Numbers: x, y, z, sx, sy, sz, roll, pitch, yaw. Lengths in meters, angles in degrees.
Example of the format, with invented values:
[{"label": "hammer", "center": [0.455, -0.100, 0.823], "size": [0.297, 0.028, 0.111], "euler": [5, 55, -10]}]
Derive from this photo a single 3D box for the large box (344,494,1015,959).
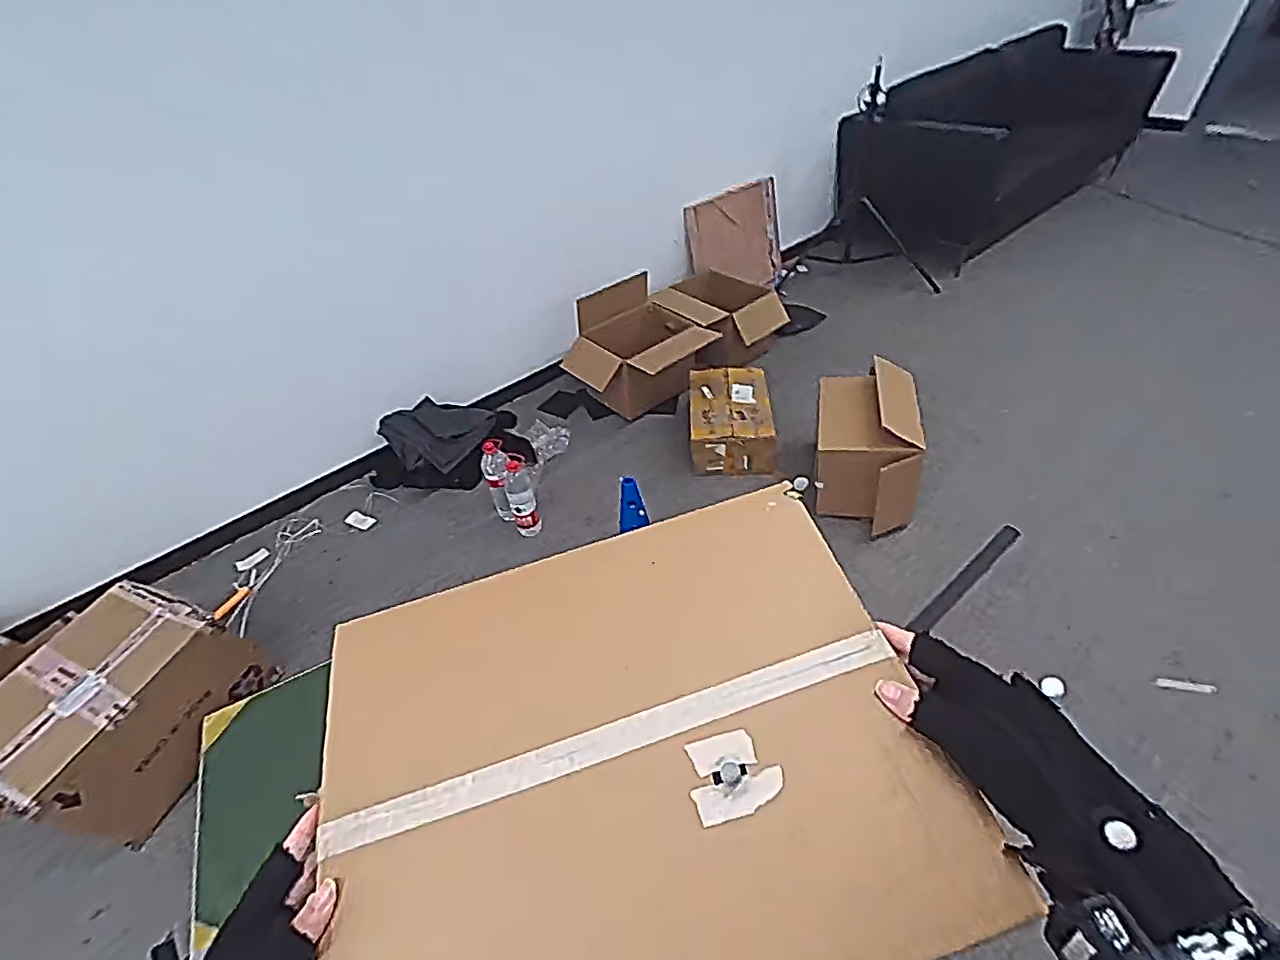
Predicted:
[{"label": "large box", "center": [0.007, 0.274, 0.502], "size": [0.408, 0.320, 0.320], "euler": [-17, 53, -5]}]
